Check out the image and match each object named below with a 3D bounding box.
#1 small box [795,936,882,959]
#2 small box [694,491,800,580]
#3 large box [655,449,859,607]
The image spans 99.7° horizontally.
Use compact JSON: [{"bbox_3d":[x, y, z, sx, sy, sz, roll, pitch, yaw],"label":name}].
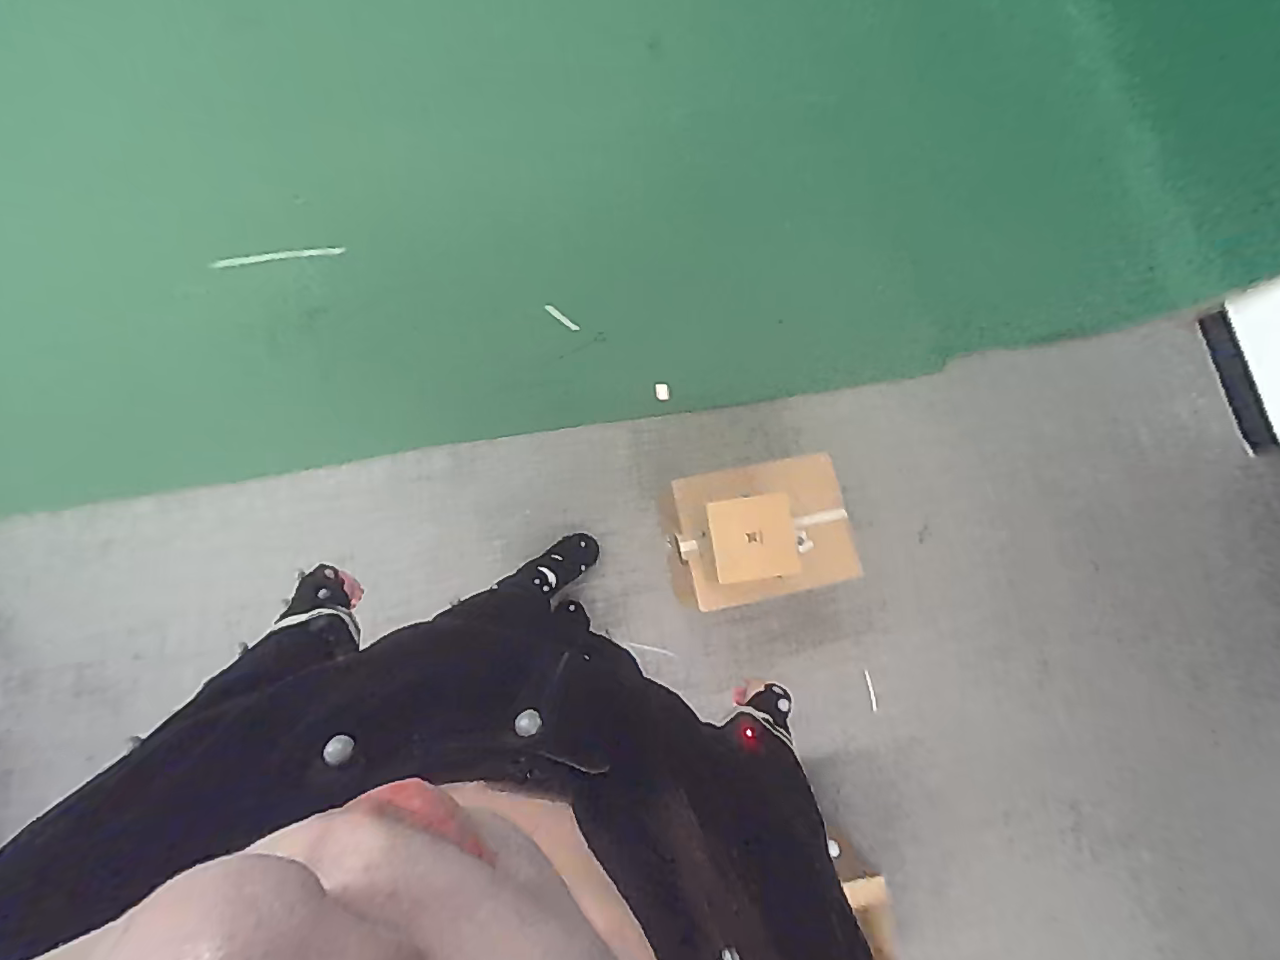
[{"bbox_3d":[0.410,1.029,1.032,0.168,0.176,0.179,0,81,-8],"label":"small box"},{"bbox_3d":[0.219,0.123,1.162,0.179,0.176,0.168,-6,82,-7],"label":"small box"},{"bbox_3d":[0.279,0.133,1.415,0.408,0.320,0.320,-10,82,-7],"label":"large box"}]
